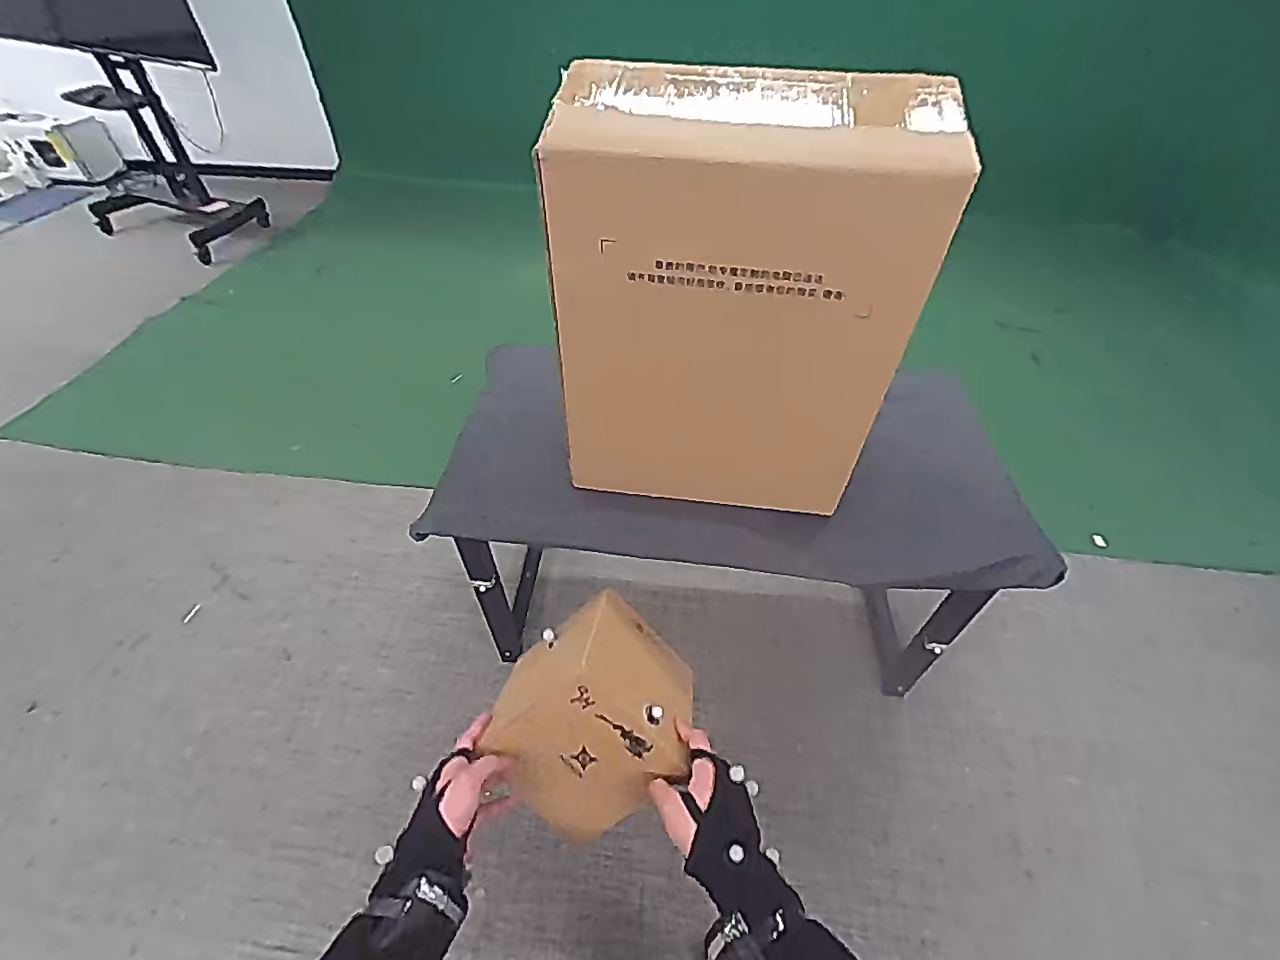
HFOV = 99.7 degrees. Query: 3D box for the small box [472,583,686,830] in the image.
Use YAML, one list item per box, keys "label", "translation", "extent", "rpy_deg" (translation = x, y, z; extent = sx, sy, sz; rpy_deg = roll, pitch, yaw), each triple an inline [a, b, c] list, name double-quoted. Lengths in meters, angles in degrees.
- label: "small box"
  translation: [-0.058, 0.260, 0.647]
  extent: [0.168, 0.179, 0.176]
  rpy_deg: [48, 17, -9]
